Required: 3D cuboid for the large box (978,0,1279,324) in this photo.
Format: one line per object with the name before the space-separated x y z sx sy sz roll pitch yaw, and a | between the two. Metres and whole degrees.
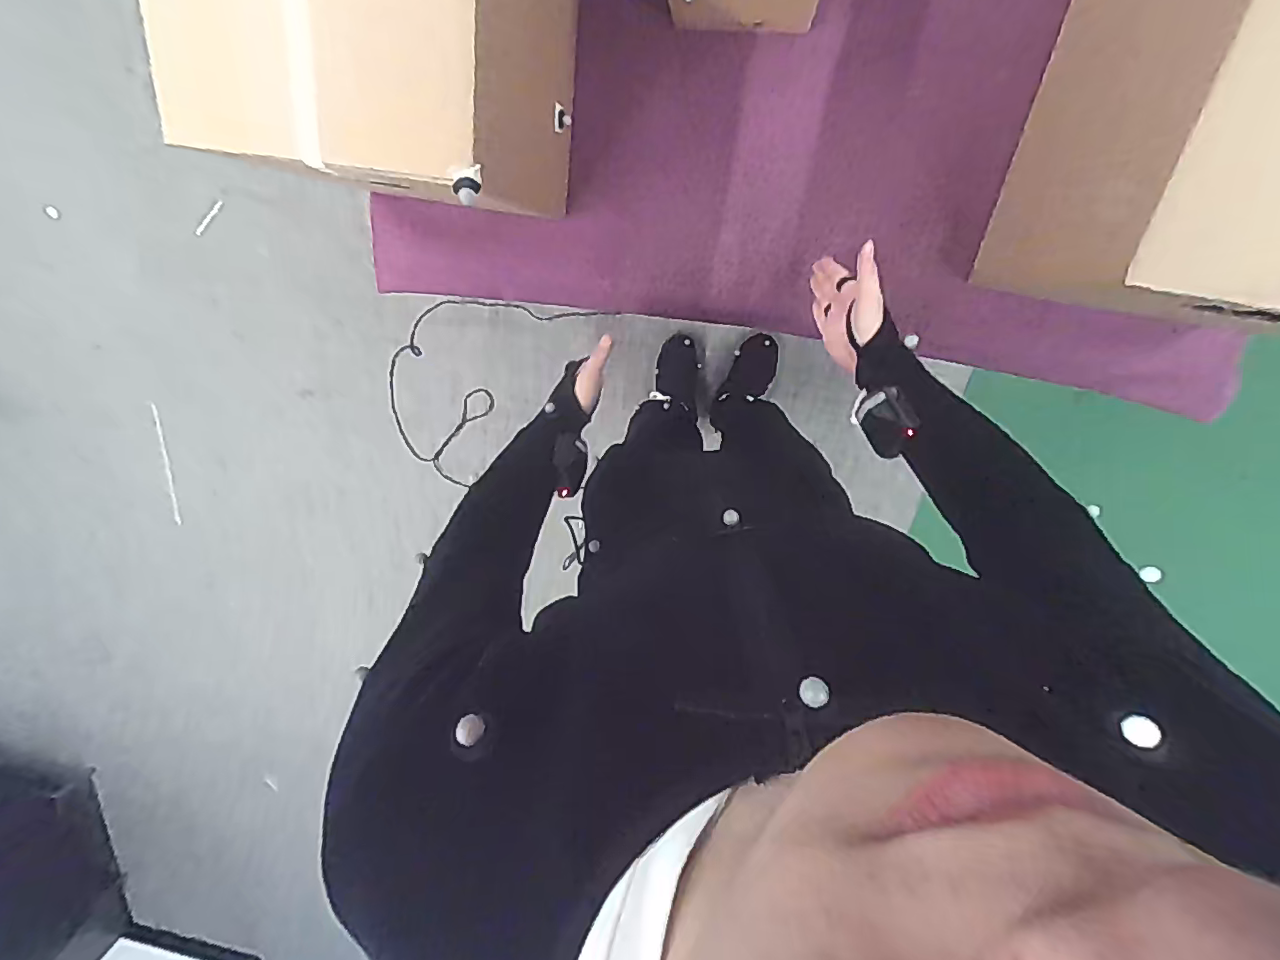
large box | 0.597 -0.368 0.498 0.320 0.320 0.408 11 112 5
